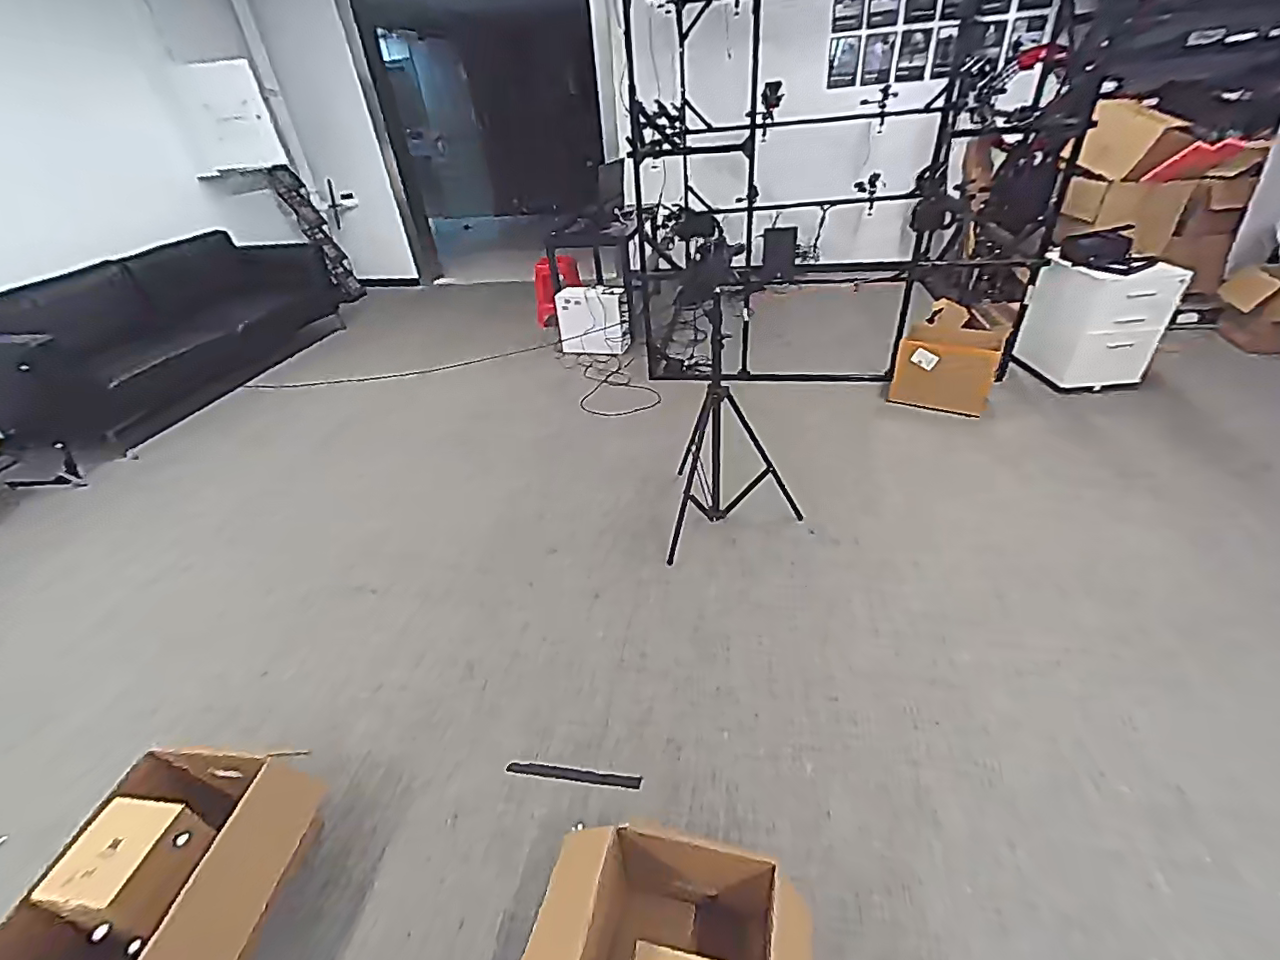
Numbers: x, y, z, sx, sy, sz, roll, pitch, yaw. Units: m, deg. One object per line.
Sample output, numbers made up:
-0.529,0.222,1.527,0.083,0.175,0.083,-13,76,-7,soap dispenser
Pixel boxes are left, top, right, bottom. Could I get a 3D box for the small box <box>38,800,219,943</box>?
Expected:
-0.991,0.775,1.074,0.168,0.176,0.179,0,35,9,small box
